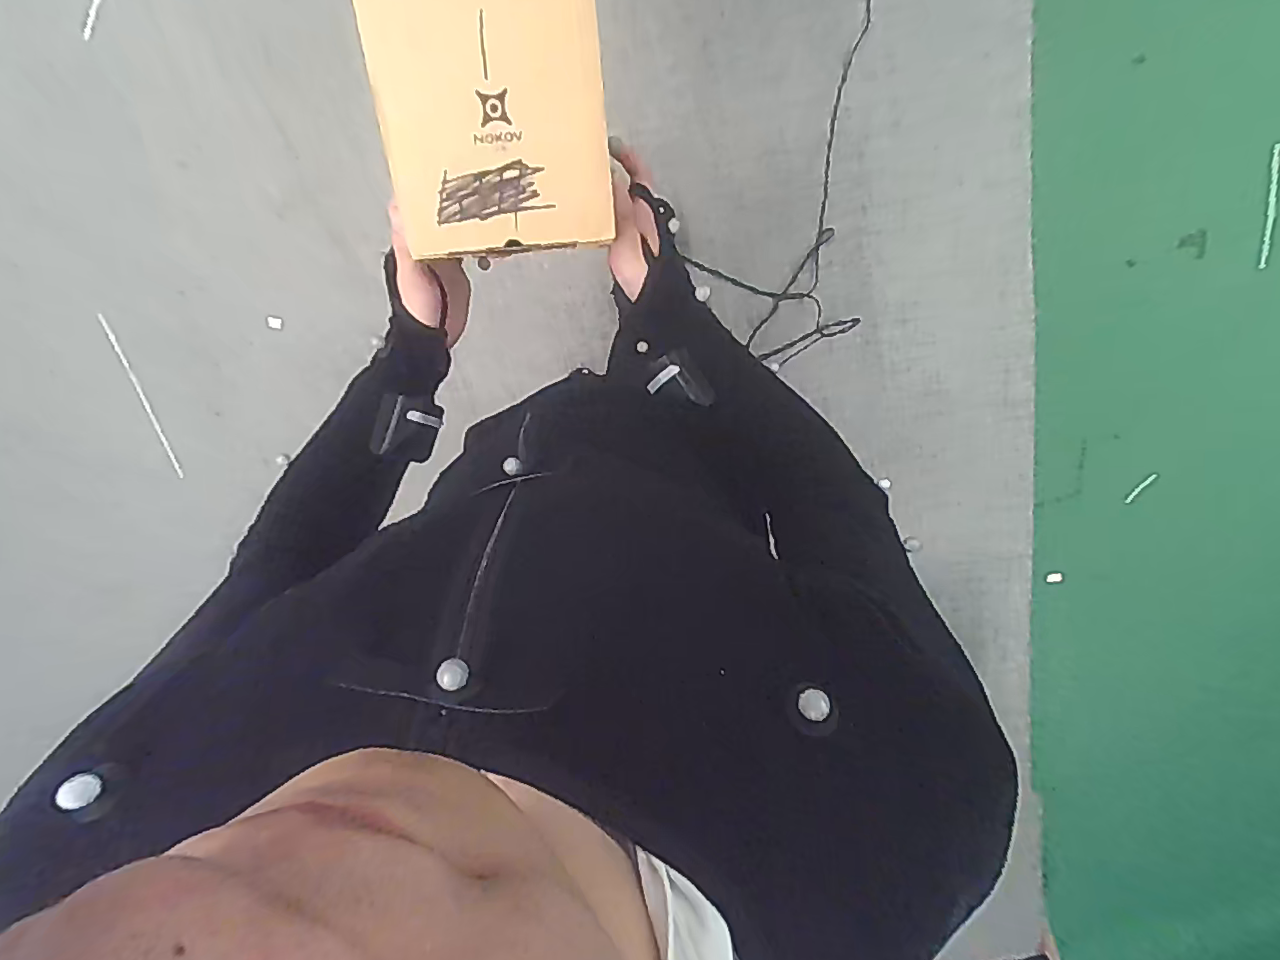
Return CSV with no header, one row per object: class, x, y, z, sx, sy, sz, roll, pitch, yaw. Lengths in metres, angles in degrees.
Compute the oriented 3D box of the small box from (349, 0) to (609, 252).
small box,-0.115,-0.298,0.467,0.168,0.176,0.179,-6,113,-2
